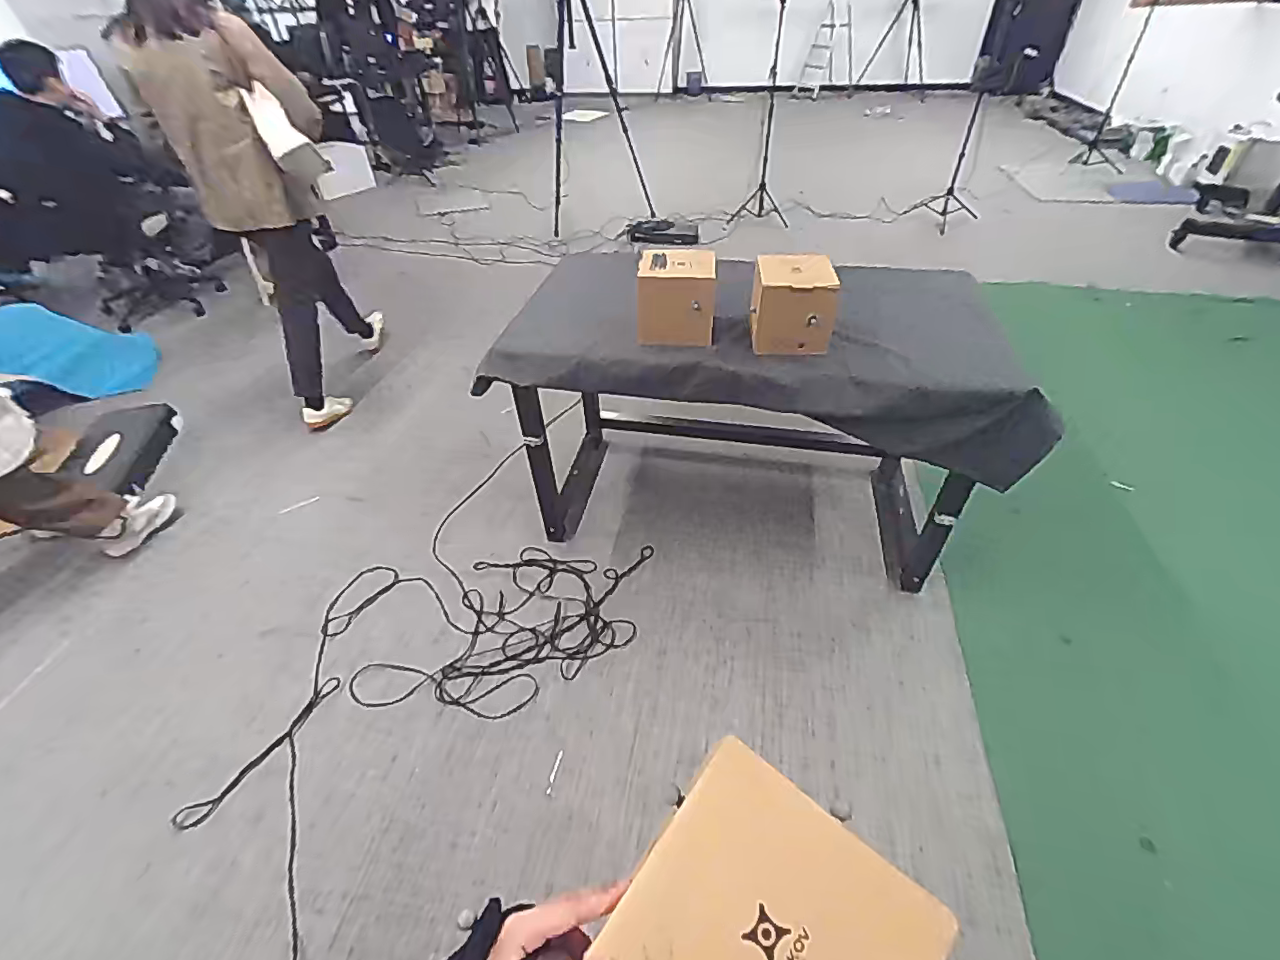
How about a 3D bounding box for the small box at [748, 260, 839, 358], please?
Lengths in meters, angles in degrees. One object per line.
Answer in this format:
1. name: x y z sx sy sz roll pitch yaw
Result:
1. small box: 0.347 -0.396 1.253 0.168 0.176 0.179 2 41 3
